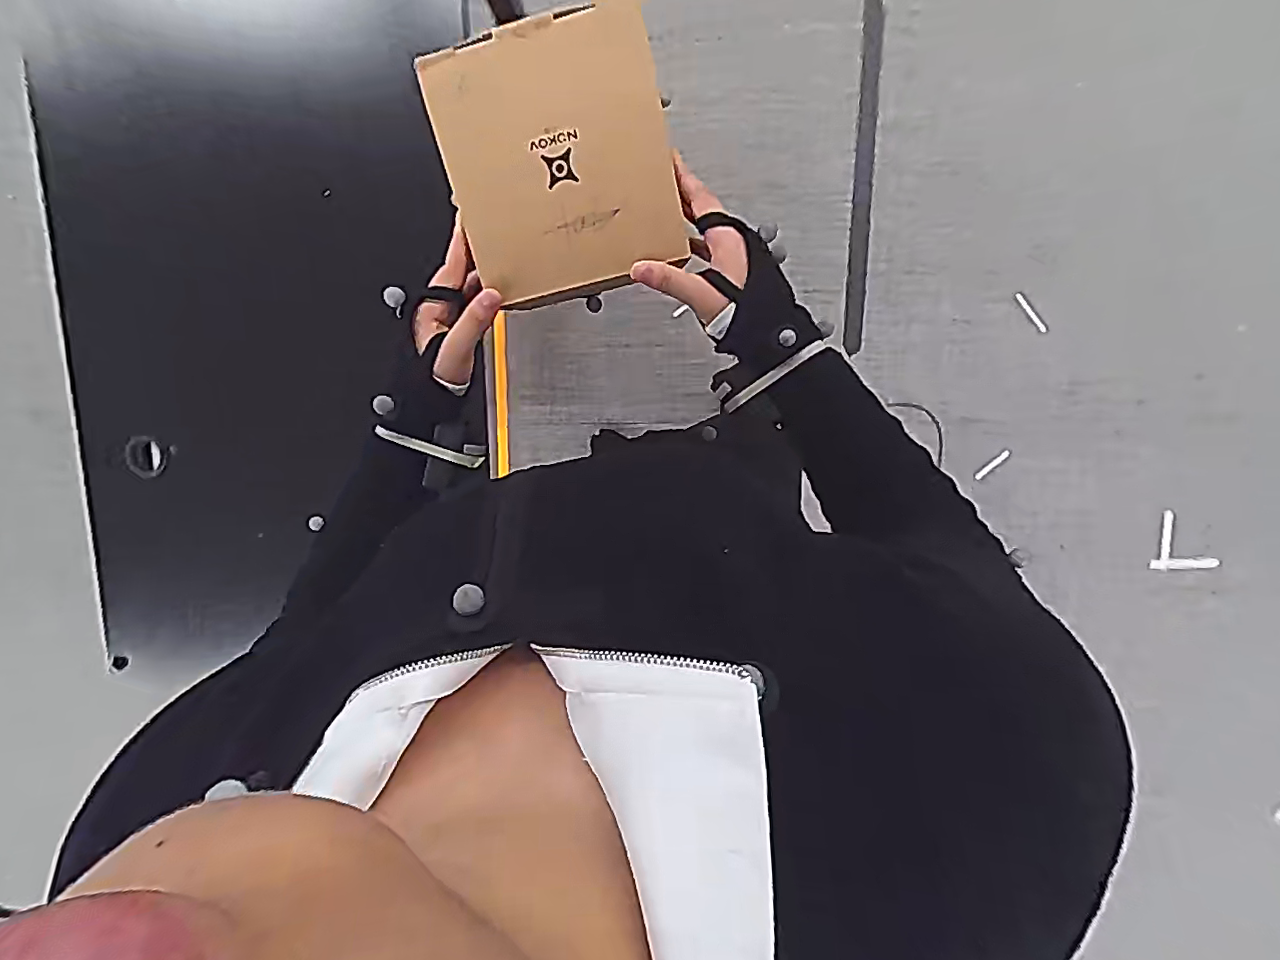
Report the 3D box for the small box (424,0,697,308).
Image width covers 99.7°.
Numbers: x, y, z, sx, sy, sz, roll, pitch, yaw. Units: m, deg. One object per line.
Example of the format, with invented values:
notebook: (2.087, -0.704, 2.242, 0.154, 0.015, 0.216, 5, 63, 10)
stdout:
small box: (-0.053, -0.252, 0.465, 0.168, 0.176, 0.179, -12, 107, 5)
